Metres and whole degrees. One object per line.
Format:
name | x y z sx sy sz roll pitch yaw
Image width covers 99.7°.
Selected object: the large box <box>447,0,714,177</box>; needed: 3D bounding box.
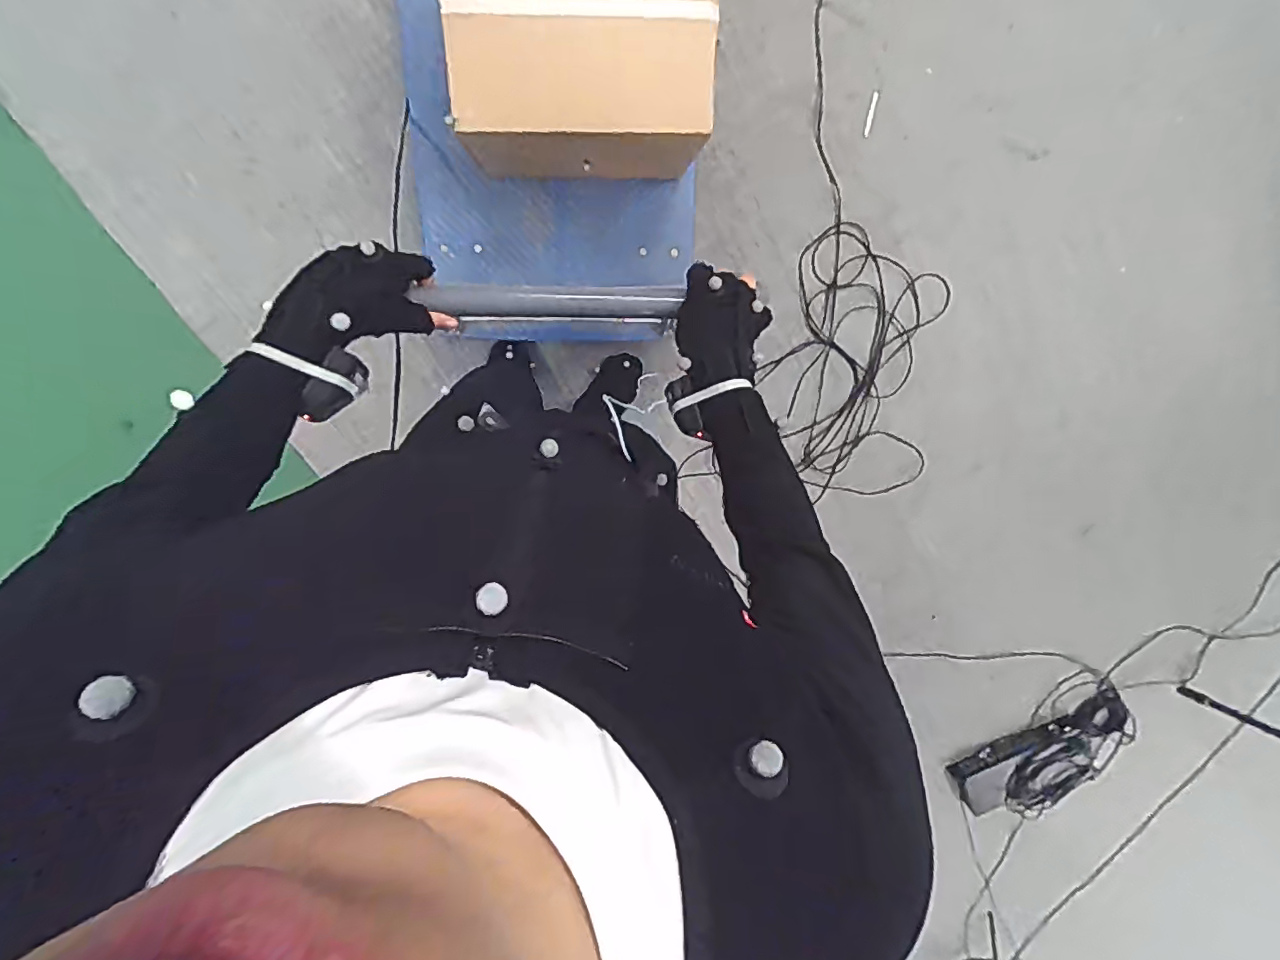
large box | -0.094 -0.737 0.950 0.408 0.320 0.320 -2 107 -4
